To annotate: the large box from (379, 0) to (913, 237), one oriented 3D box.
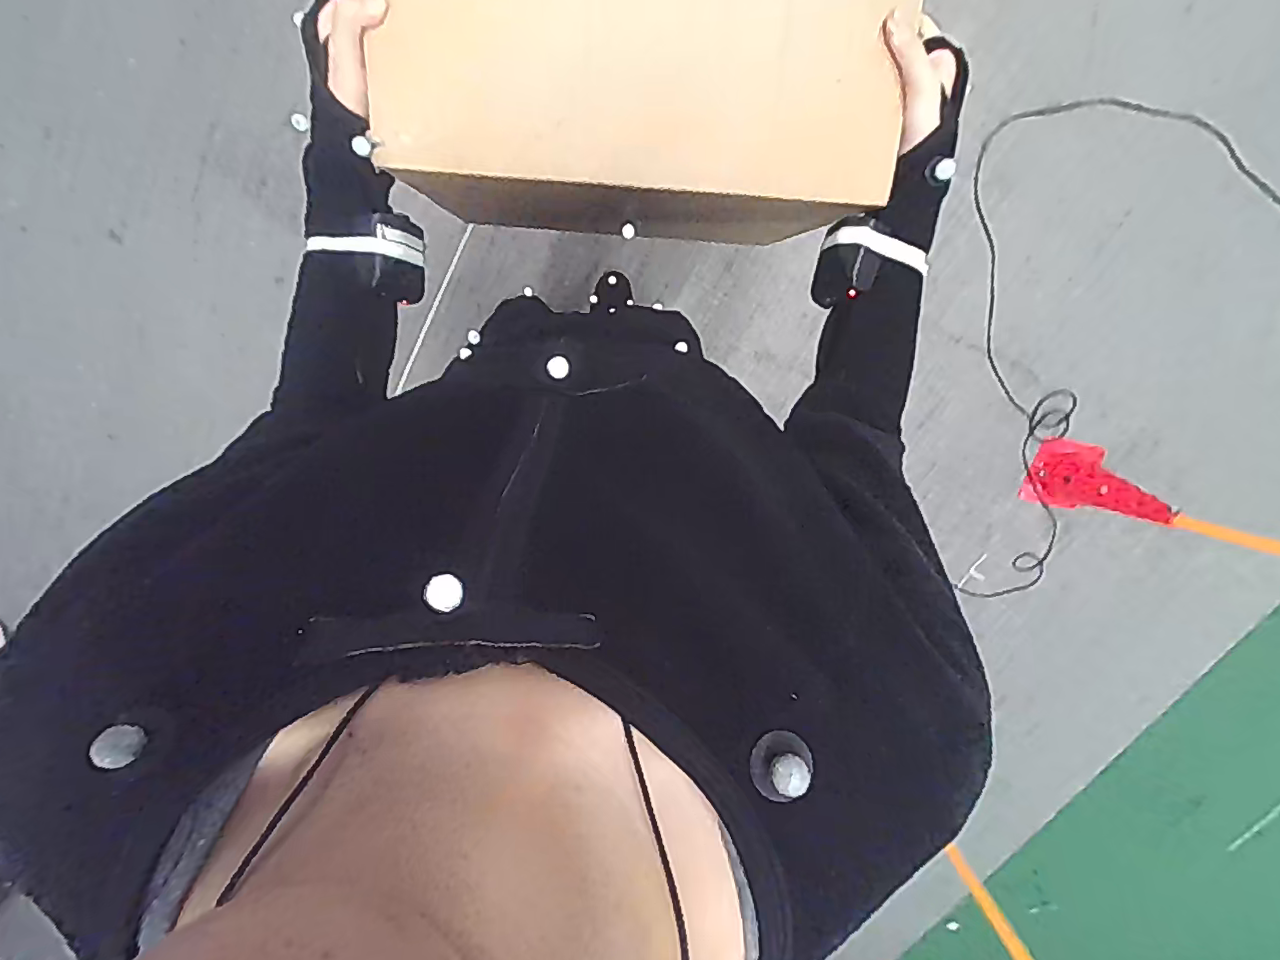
[{"bbox_3d":[0.002,-0.427,0.532,0.408,0.320,0.320,1,107,-5],"label":"large box"}]
